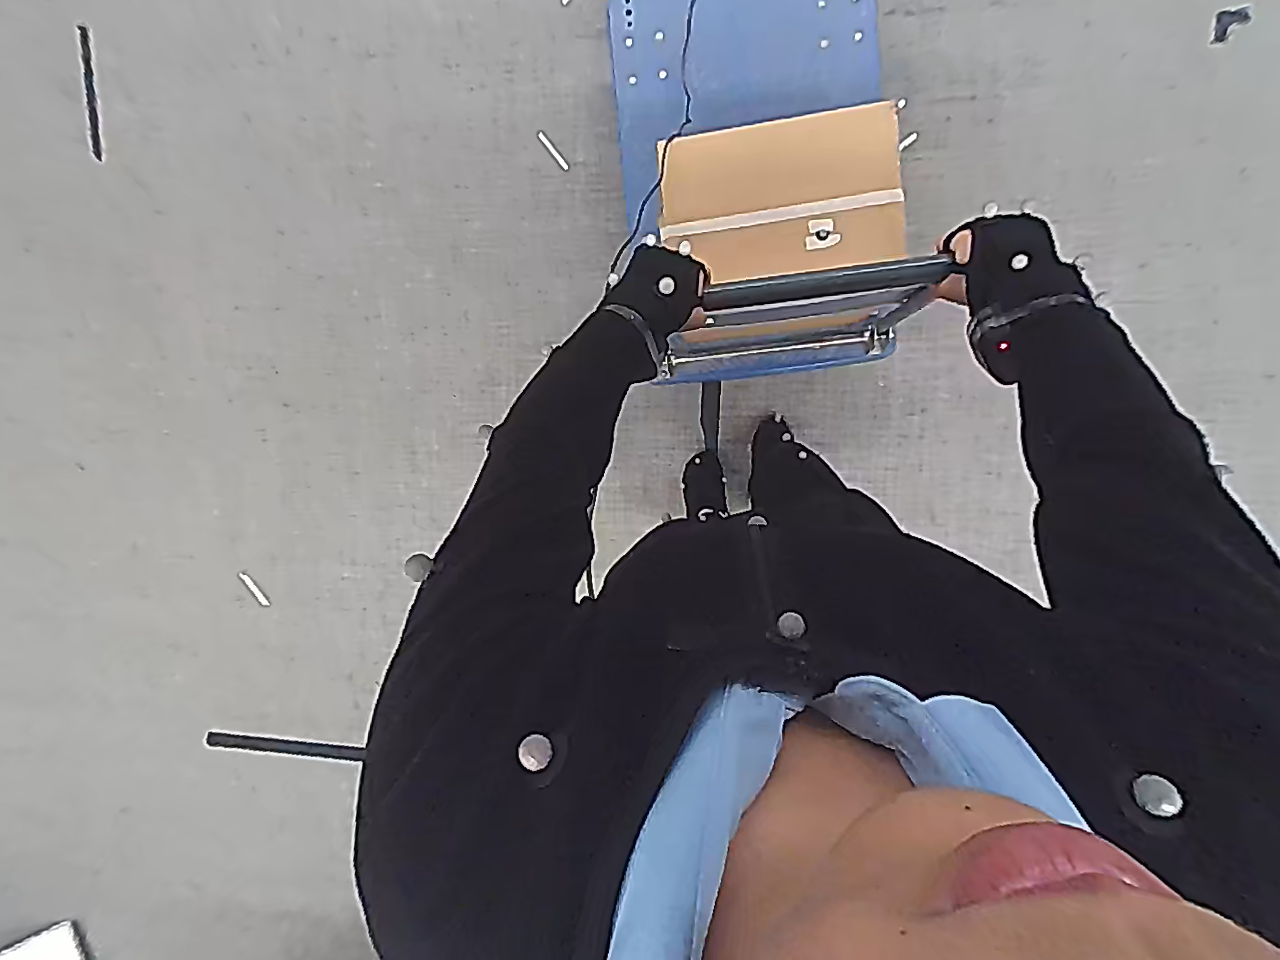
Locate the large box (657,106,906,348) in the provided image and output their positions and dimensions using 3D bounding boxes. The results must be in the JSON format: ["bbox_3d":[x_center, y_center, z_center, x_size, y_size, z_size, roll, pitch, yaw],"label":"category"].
[{"bbox_3d":[0.259,-0.465,1.083,0.408,0.320,0.320,-6,96,8],"label":"large box"}]
